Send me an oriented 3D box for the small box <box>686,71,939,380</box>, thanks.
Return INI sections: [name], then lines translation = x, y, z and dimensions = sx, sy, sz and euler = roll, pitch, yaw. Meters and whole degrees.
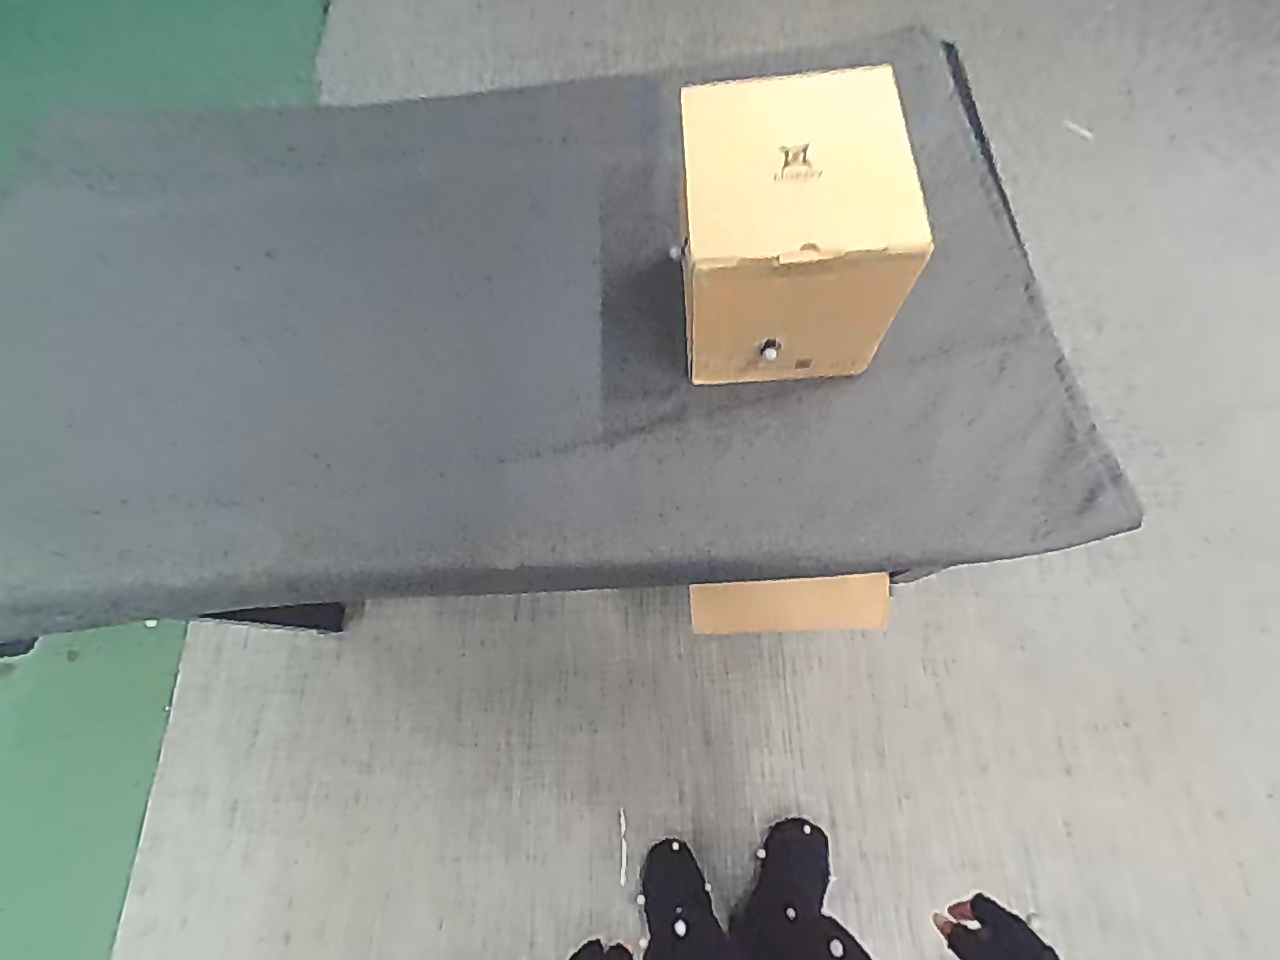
[small box]
translation = 0.126, -0.207, 0.473
dimensions = 0.168, 0.176, 0.179
euler = -3, 71, 4
